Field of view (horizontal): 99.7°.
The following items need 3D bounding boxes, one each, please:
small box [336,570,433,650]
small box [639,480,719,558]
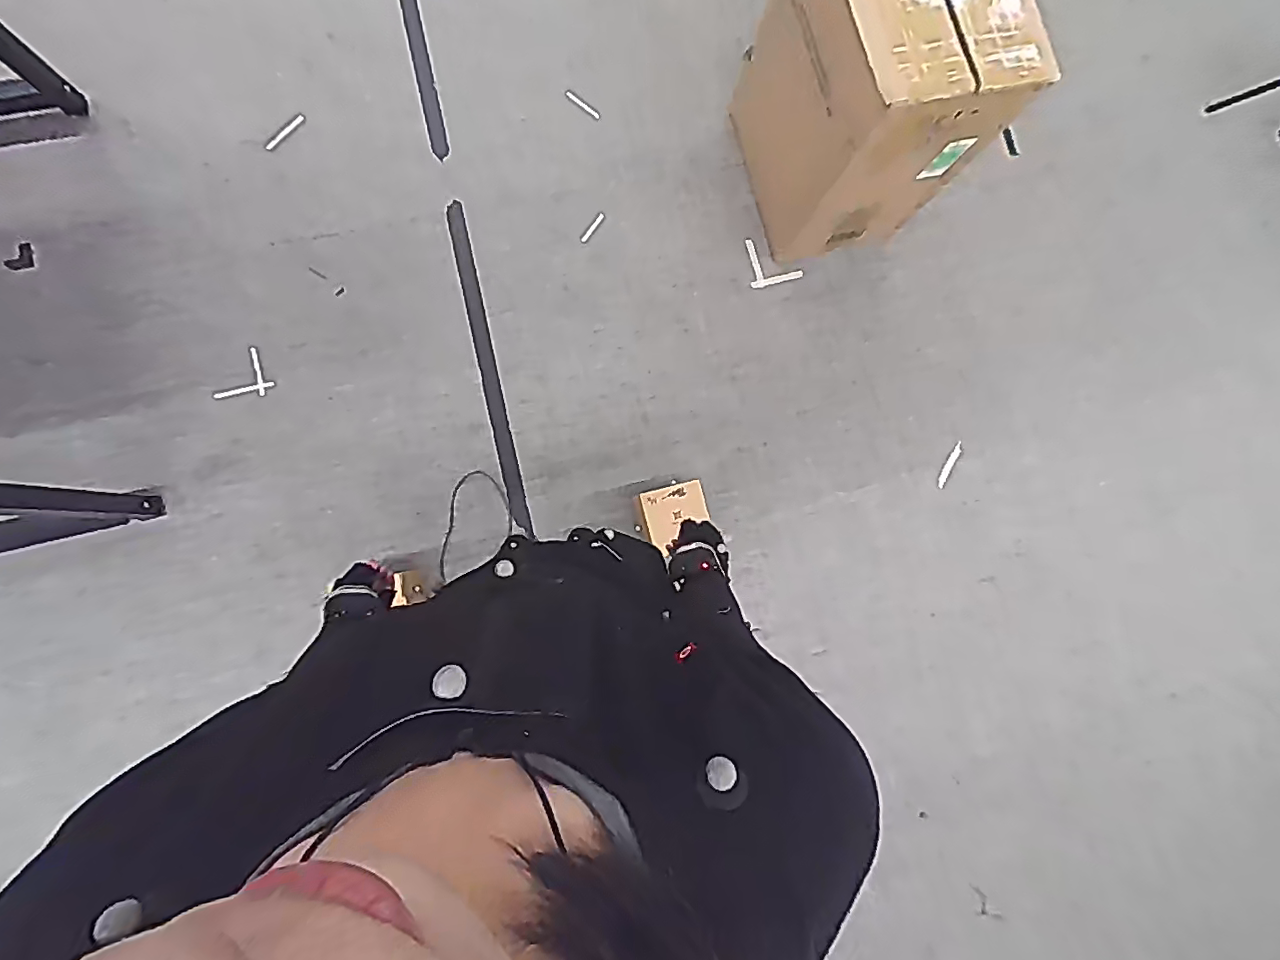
[{"bbox_3d":[-0.640,0.323,1.376,0.179,0.176,0.168,-8,83,-4],"label":"small box"},{"bbox_3d":[0.102,0.105,1.478,0.168,0.176,0.179,-14,87,-8],"label":"small box"}]
